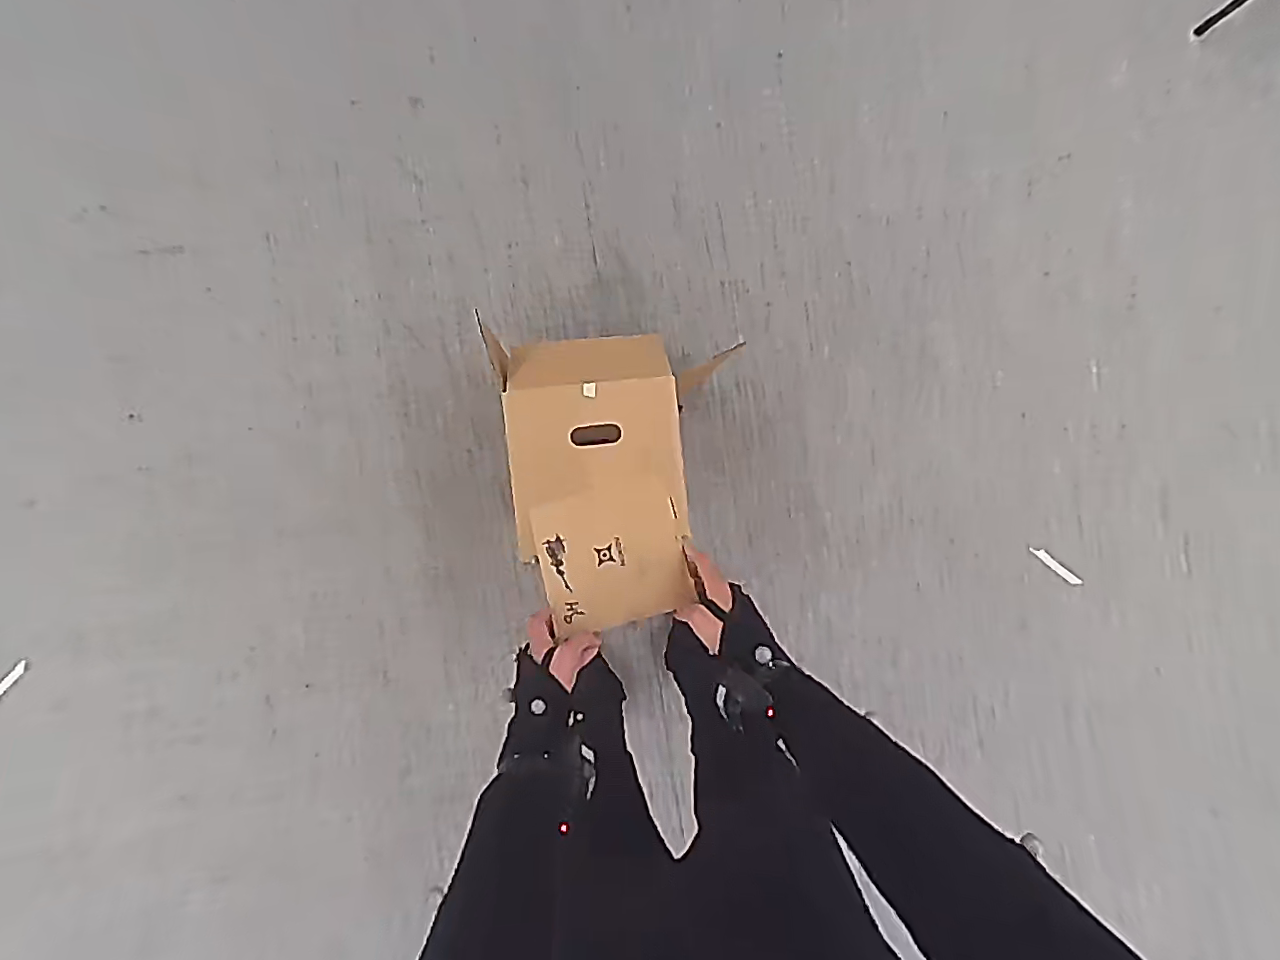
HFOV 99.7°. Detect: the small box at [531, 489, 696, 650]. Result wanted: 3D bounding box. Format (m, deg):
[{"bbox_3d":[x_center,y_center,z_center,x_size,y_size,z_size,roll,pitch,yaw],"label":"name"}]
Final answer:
[{"bbox_3d":[-0.034,0.120,0.737,0.179,0.176,0.168,-14,79,-2],"label":"small box"}]
